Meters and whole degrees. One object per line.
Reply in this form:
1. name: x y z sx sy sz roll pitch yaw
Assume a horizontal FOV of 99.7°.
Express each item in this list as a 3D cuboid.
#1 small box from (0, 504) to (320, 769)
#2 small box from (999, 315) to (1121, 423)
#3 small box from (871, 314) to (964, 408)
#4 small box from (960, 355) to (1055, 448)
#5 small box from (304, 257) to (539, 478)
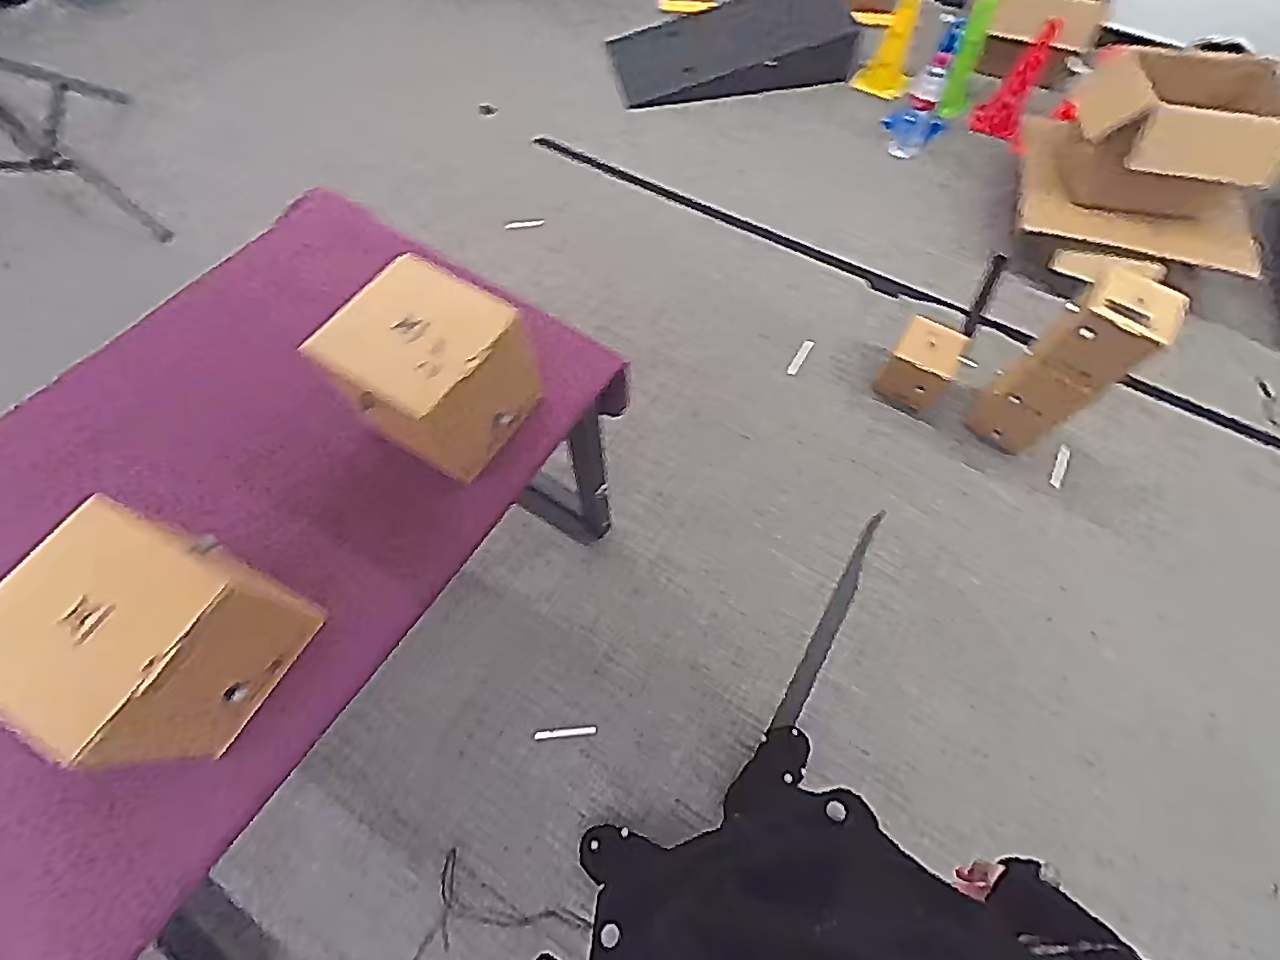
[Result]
1. small box: -0.469 0.155 0.527 0.179 0.176 0.168 26 67 10
2. small box: 1.069 -0.278 1.391 0.168 0.176 0.179 33 68 13
3. small box: 0.811 -0.345 1.598 0.168 0.176 0.179 29 67 10
4. small box: 1.066 -0.215 1.544 0.179 0.176 0.168 34 69 13
5. small box: -0.249 -0.128 0.662 0.179 0.176 0.168 29 69 12
